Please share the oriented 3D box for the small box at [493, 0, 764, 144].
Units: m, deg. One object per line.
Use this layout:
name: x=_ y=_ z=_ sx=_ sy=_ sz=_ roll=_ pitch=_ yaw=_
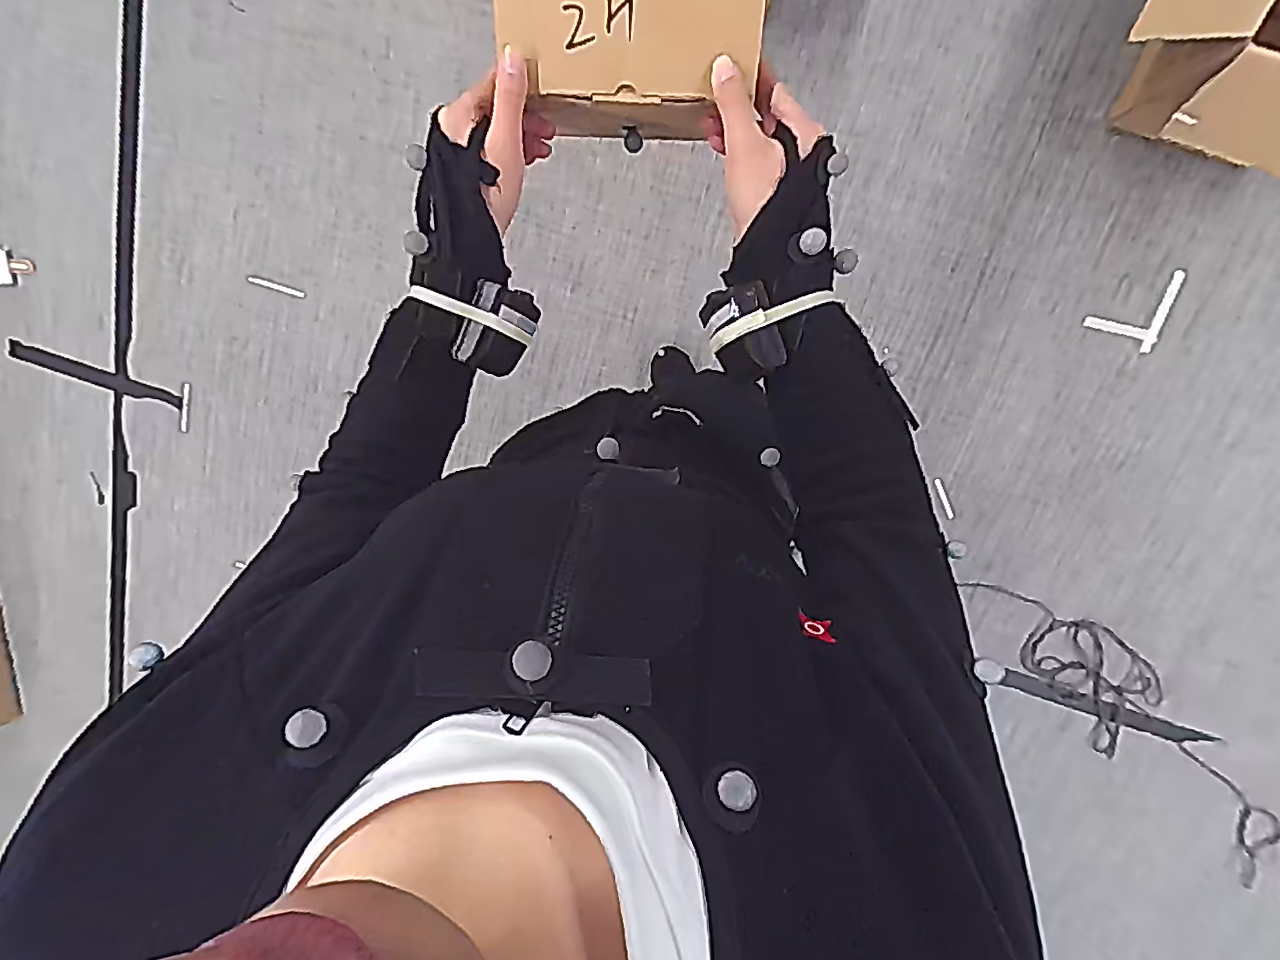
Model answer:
small box: x=-0.002 y=-0.356 z=0.380 sx=0.168 sy=0.176 sz=0.179 roll=3 pitch=114 yaw=2
